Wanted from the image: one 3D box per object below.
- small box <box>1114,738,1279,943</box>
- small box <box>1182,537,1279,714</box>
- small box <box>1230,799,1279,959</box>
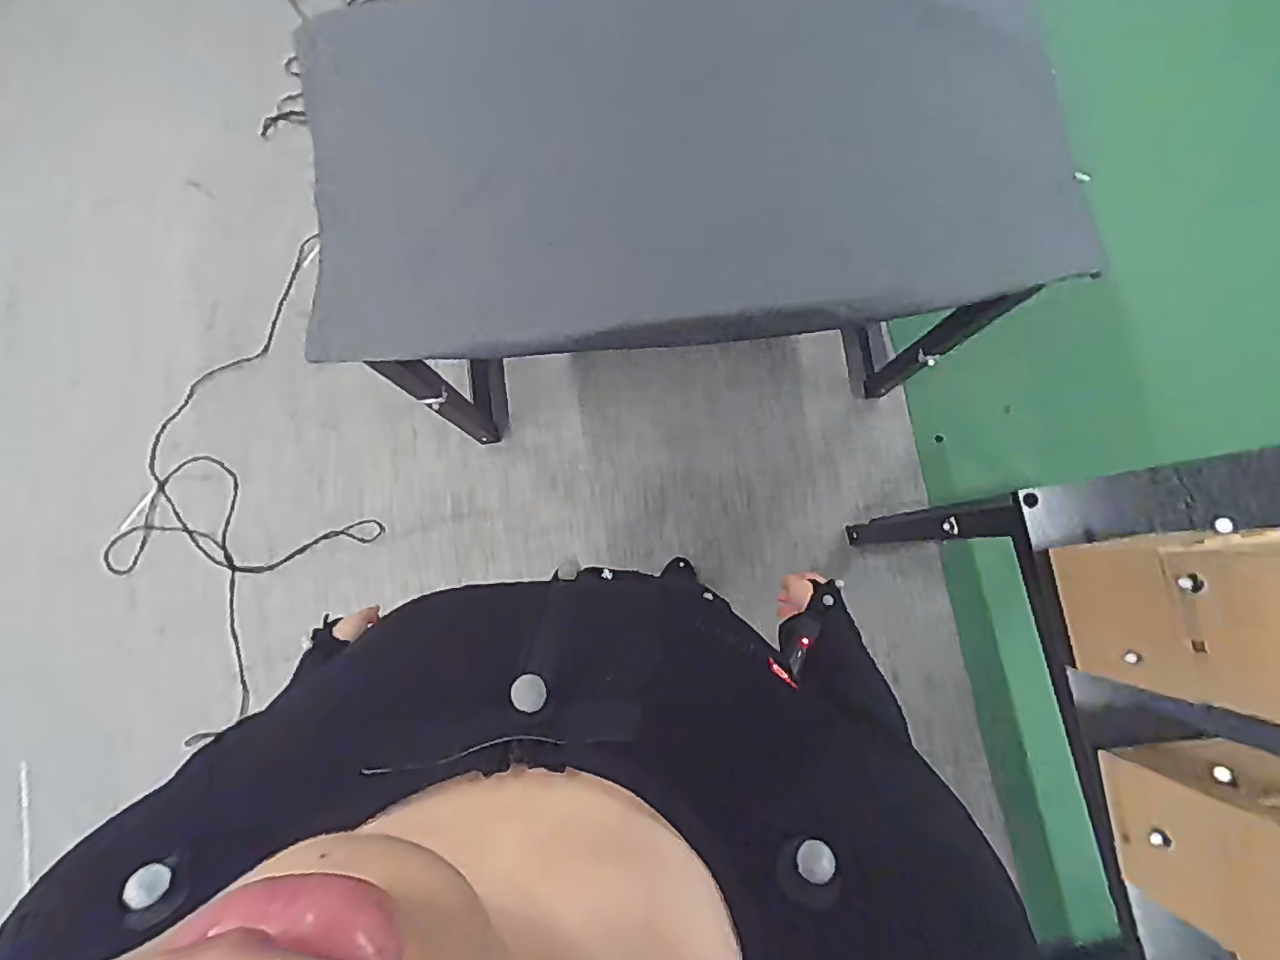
[{"bbox_3d":[0.722,0.427,0.649,0.179,0.176,0.168,-5,83,0],"label":"small box"},{"bbox_3d":[0.688,0.139,0.523,0.179,0.176,0.168,-6,83,-1],"label":"small box"},{"bbox_3d":[0.703,0.421,0.486,0.168,0.176,0.179,3,82,1],"label":"small box"}]
